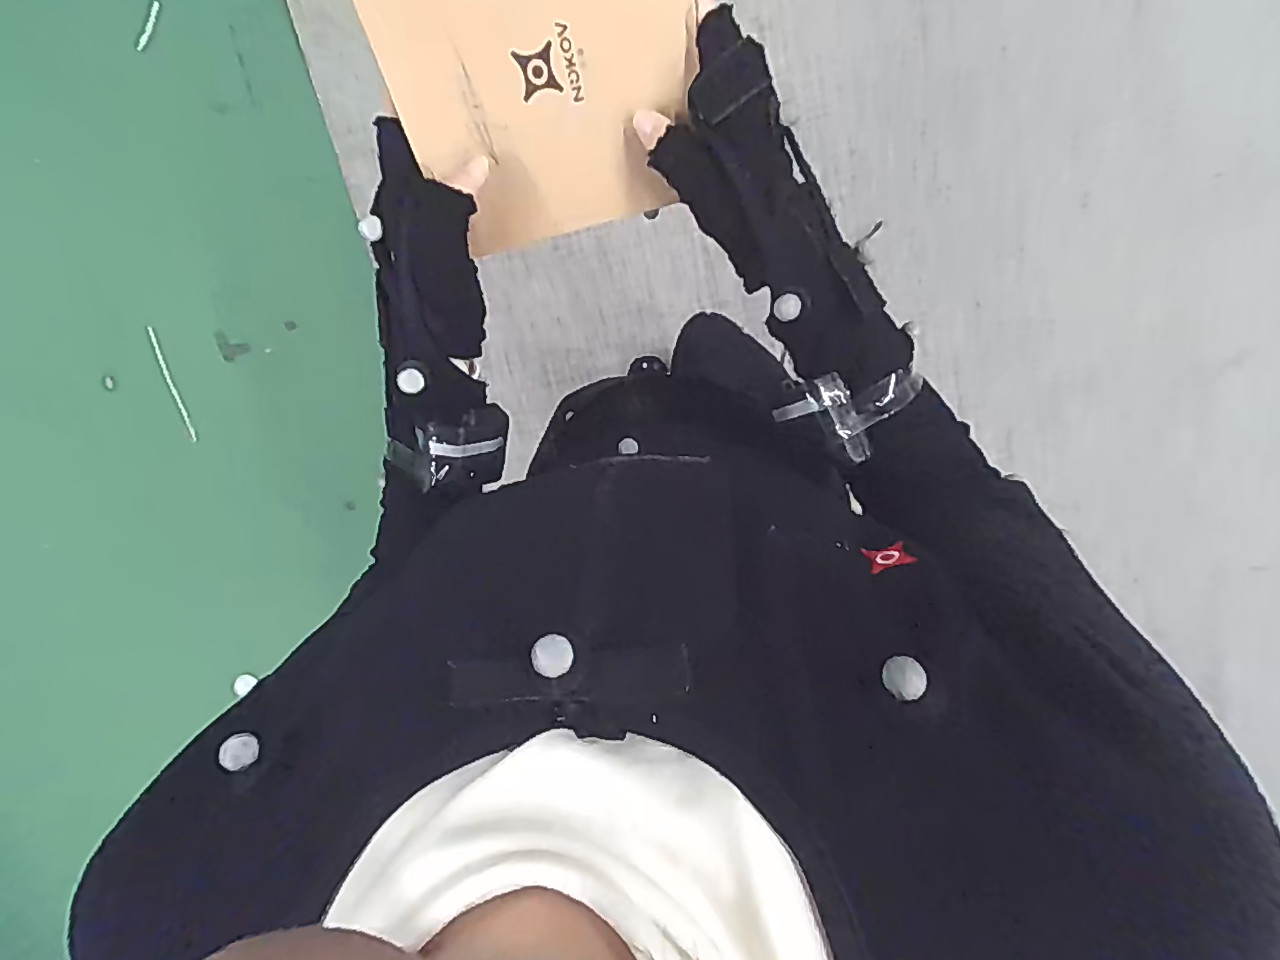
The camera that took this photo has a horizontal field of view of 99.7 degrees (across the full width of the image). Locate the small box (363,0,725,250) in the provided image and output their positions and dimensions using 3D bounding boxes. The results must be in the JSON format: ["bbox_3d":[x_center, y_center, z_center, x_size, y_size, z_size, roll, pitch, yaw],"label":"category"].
[{"bbox_3d":[-0.052,-0.276,0.365,0.179,0.176,0.168,-12,122,7],"label":"small box"}]
